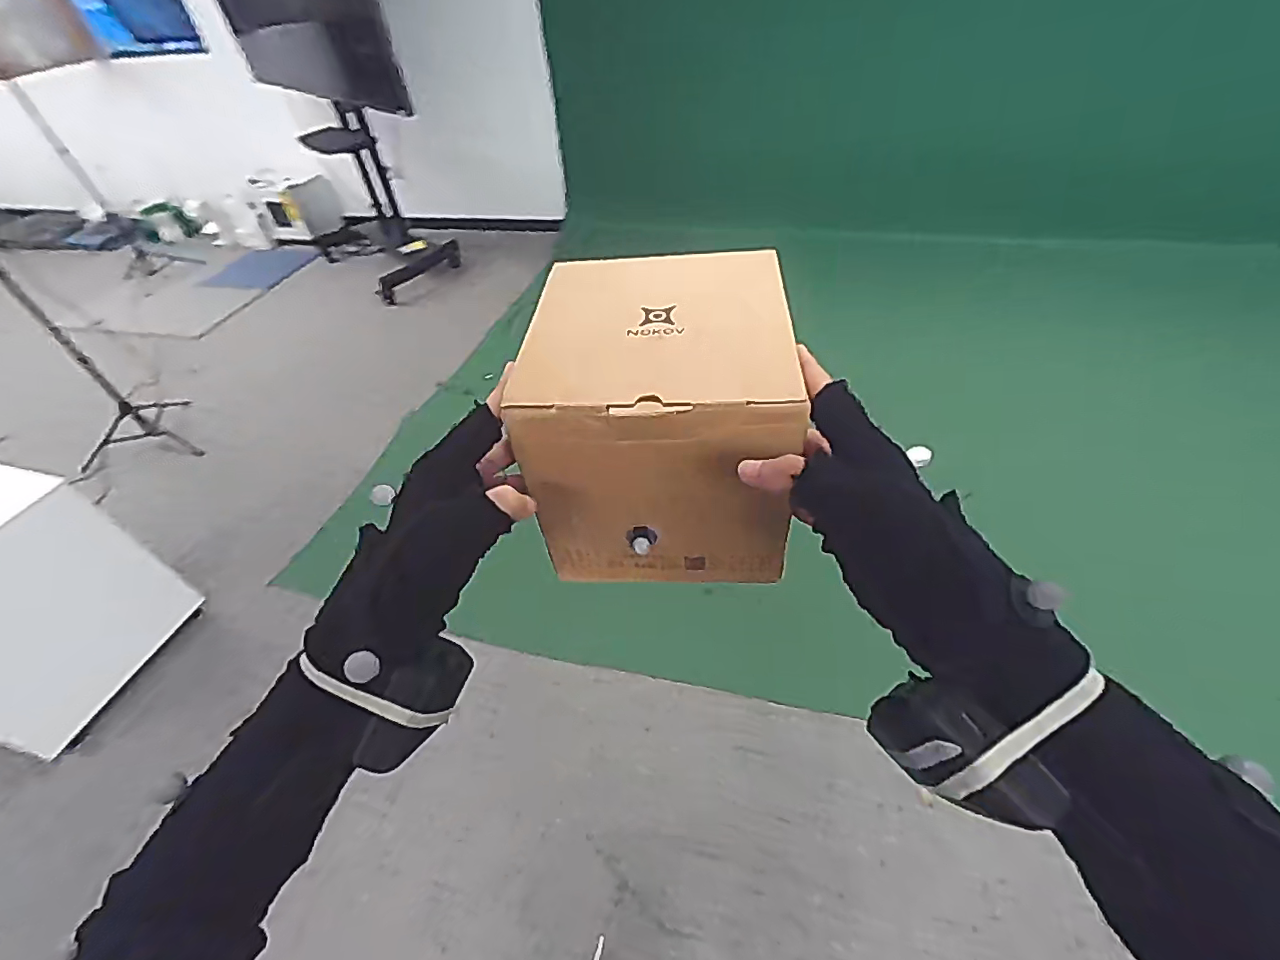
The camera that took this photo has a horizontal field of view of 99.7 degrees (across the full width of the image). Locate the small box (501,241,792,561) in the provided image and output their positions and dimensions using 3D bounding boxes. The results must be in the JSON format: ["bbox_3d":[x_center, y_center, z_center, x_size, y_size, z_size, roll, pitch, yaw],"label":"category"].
[{"bbox_3d":[0.015,-0.060,0.411,0.168,0.176,0.179,0,47,7],"label":"small box"}]
